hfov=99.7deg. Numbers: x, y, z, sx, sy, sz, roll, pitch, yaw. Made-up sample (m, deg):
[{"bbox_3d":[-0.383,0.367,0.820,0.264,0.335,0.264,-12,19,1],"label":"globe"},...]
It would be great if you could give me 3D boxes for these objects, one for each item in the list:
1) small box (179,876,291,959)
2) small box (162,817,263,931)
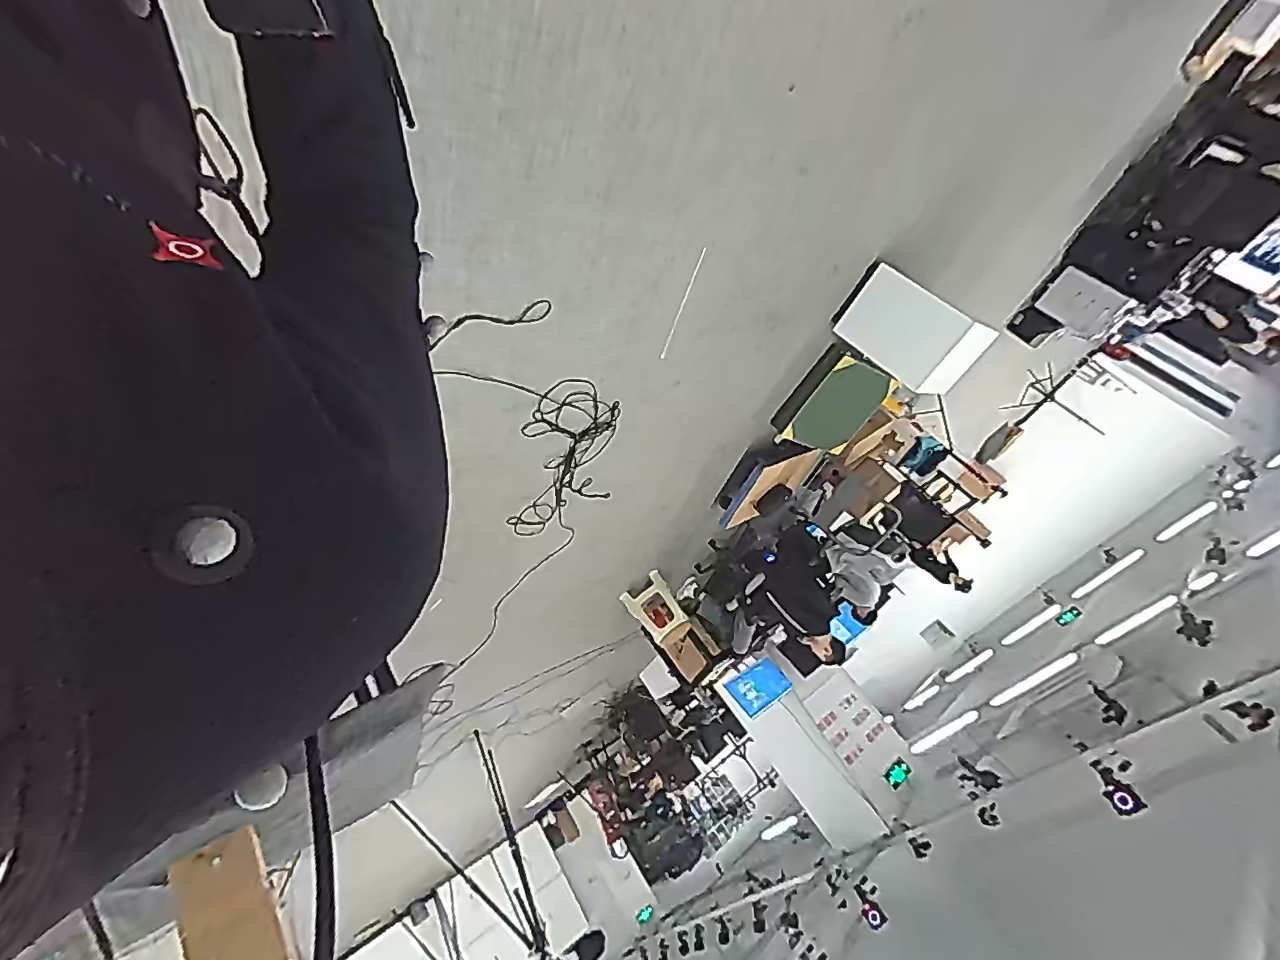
[{"bbox_3d":[-0.956,1.089,1.276,0.179,0.176,0.168,-19,148,-38],"label":"small box"},{"bbox_3d":[-1.054,0.979,1.344,0.168,0.176,0.179,-17,146,-38],"label":"small box"}]
